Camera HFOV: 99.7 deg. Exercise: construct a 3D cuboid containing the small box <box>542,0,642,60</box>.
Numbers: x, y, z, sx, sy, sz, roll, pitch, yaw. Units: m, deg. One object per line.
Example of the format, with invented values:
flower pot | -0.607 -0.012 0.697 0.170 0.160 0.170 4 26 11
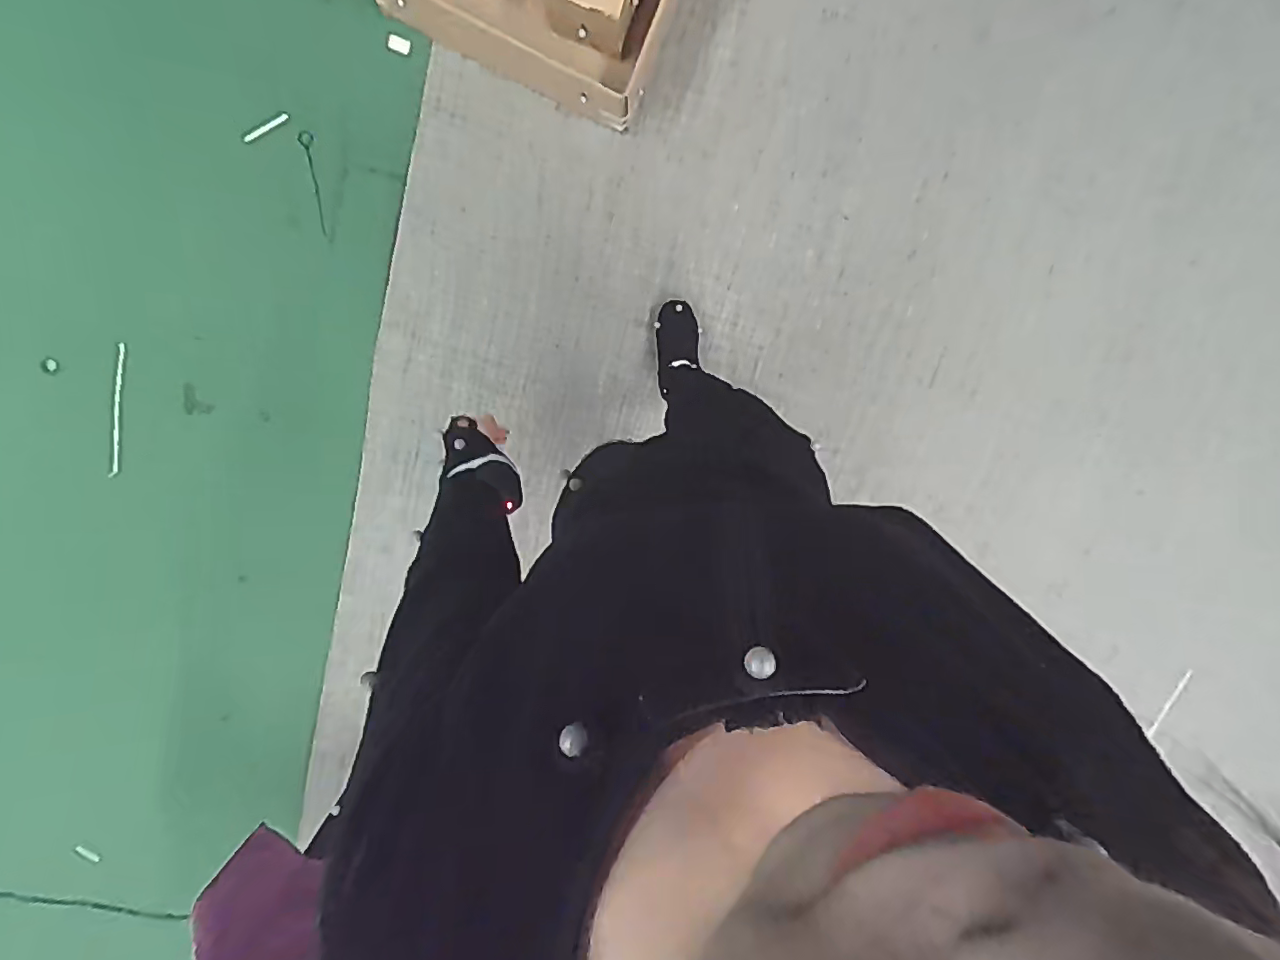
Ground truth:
small box | -0.086 -1.008 1.097 0.168 0.176 0.179 20 105 -5
